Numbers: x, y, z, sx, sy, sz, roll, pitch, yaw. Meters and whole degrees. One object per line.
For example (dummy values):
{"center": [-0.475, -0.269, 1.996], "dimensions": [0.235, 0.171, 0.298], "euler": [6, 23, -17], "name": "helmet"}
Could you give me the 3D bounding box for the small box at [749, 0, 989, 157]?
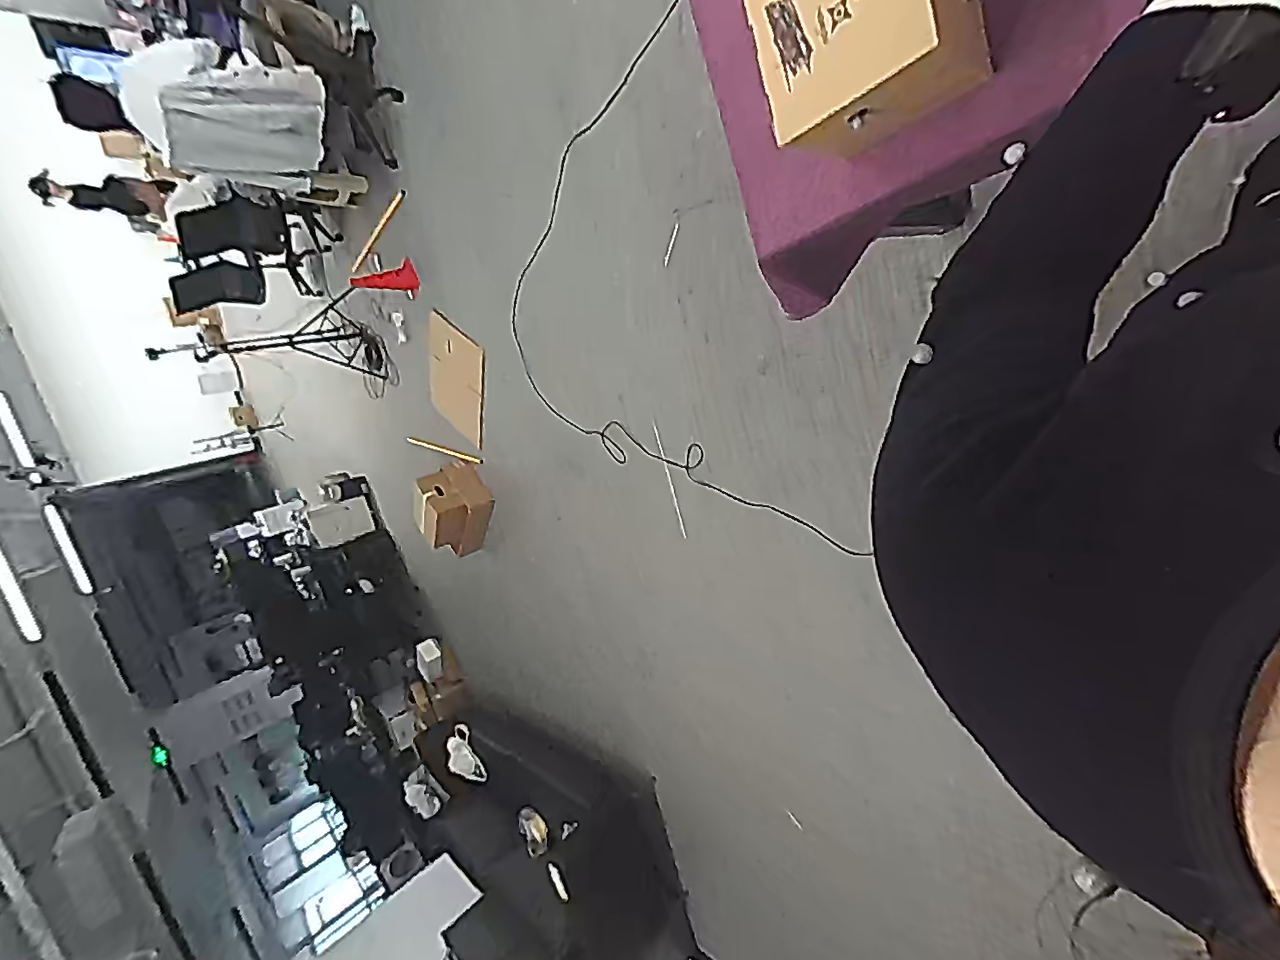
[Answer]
{"center": [0.254, -0.488, 0.602], "dimensions": [0.179, 0.176, 0.168], "euler": [-7, 102, 49], "name": "small box"}
